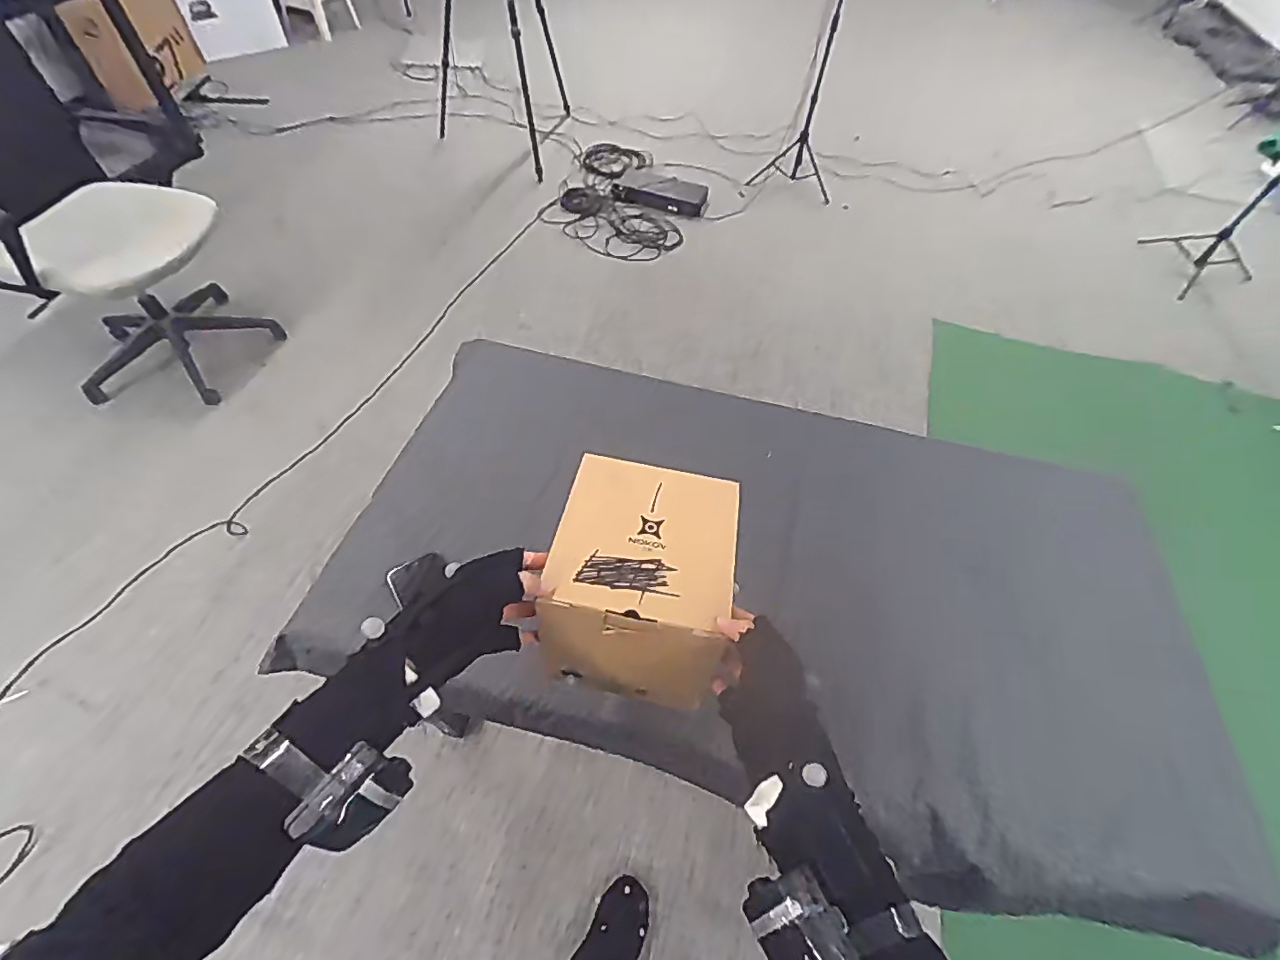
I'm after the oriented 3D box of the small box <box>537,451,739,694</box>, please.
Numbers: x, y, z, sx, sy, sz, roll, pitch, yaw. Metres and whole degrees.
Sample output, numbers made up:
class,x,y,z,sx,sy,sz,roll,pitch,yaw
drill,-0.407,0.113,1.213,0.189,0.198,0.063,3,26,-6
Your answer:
class,x,y,z,sx,sy,sz,roll,pitch,yaw
small box,0.001,0.100,0.565,0.168,0.176,0.179,11,47,2
